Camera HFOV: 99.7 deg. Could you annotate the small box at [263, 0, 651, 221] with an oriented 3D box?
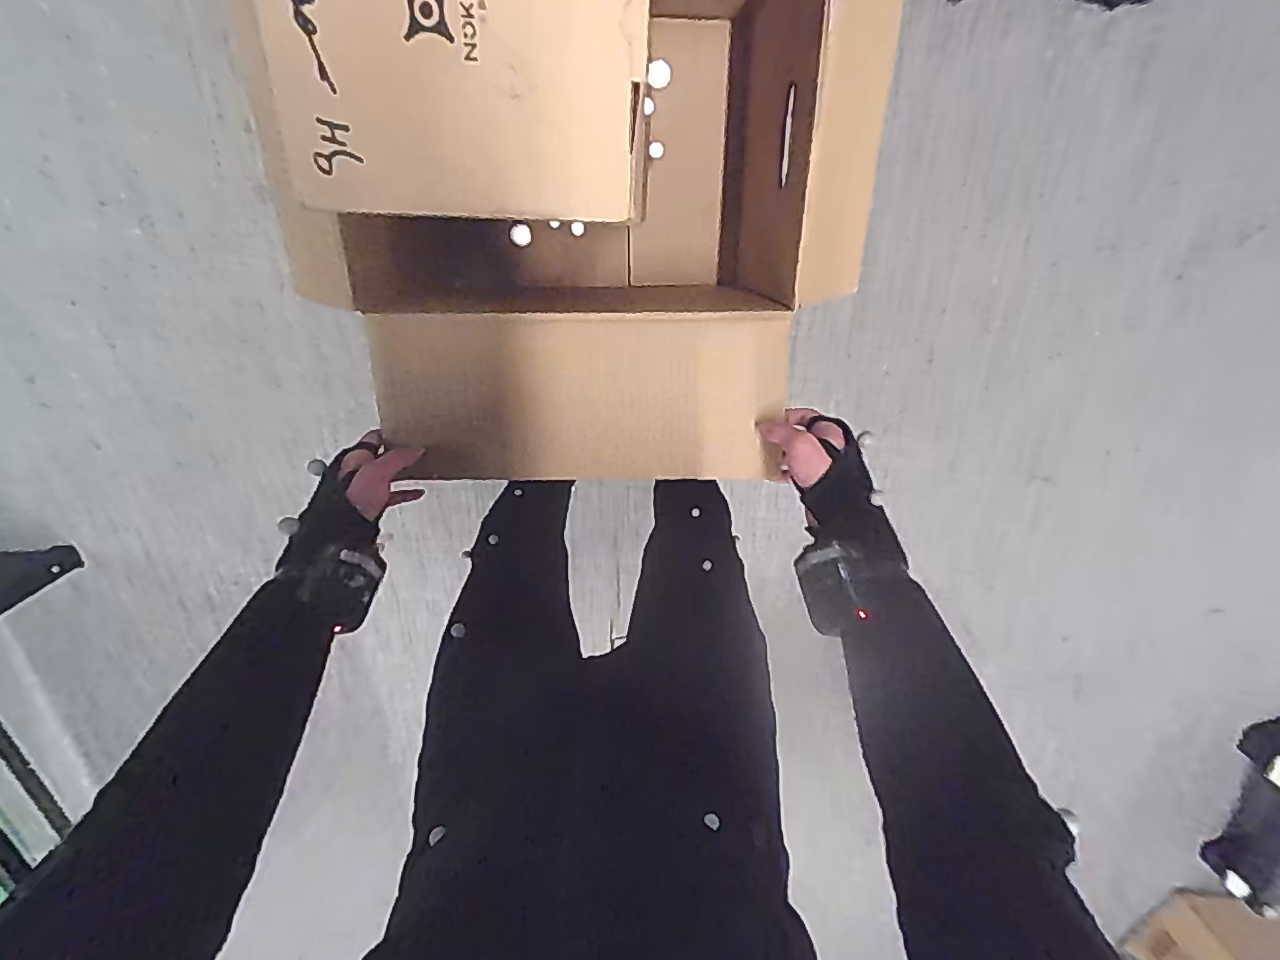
[{"bbox_3d":[-0.083,-0.248,0.317,0.179,0.176,0.168,2,114,-1],"label":"small box"}]
